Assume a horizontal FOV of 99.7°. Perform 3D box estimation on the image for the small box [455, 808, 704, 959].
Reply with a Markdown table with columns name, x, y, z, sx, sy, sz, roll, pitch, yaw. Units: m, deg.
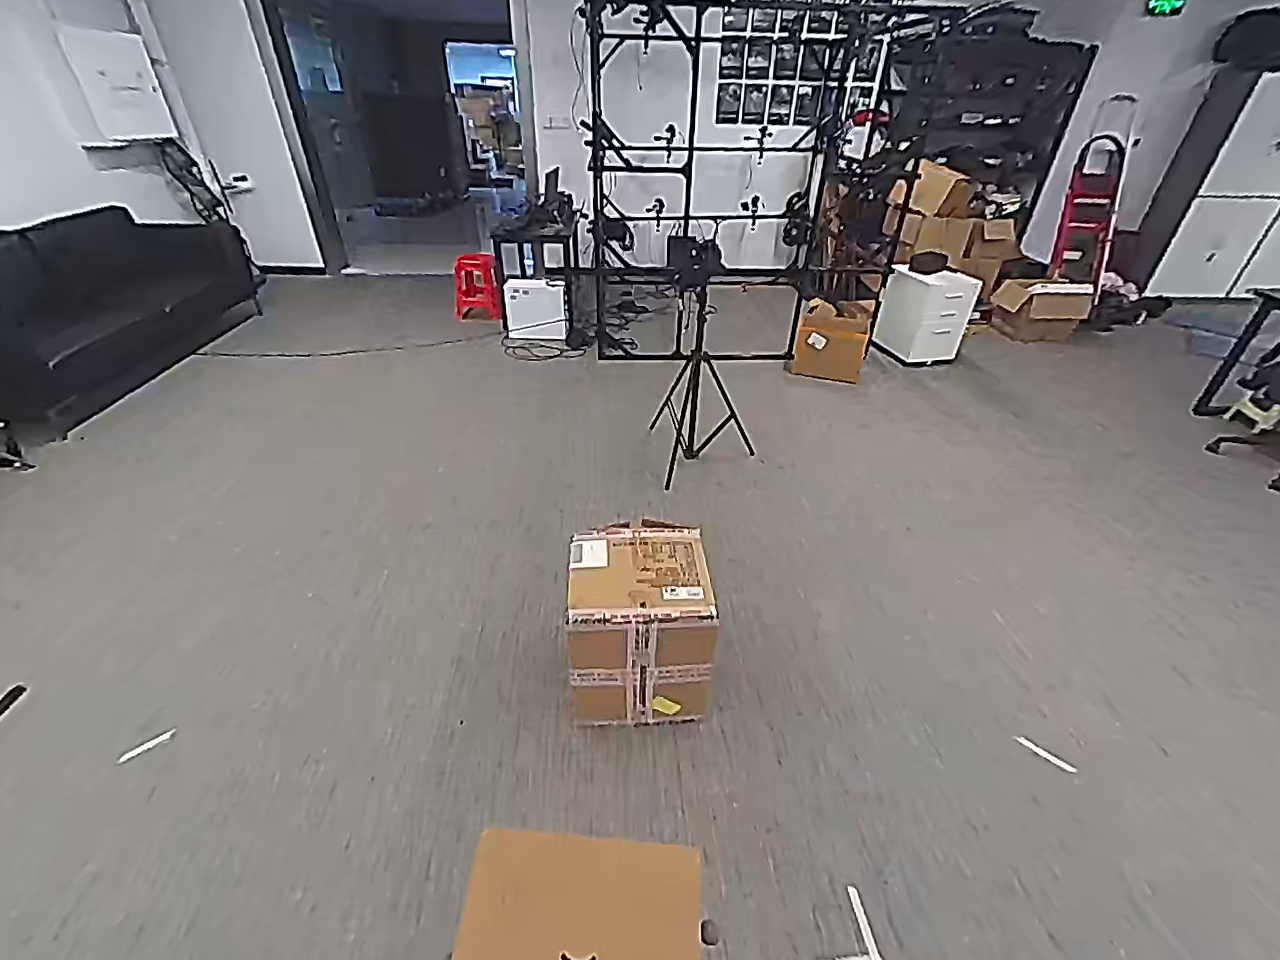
| name | x | y | z | sx | sy | sz | roll | pitch | yaw |
| --- | --- | --- | --- | --- | --- | --- | --- | --- | --- |
| small box | -0.043 | 0.375 | 0.406 | 0.168 | 0.176 | 0.179 | 4 | 45 | 2 |
